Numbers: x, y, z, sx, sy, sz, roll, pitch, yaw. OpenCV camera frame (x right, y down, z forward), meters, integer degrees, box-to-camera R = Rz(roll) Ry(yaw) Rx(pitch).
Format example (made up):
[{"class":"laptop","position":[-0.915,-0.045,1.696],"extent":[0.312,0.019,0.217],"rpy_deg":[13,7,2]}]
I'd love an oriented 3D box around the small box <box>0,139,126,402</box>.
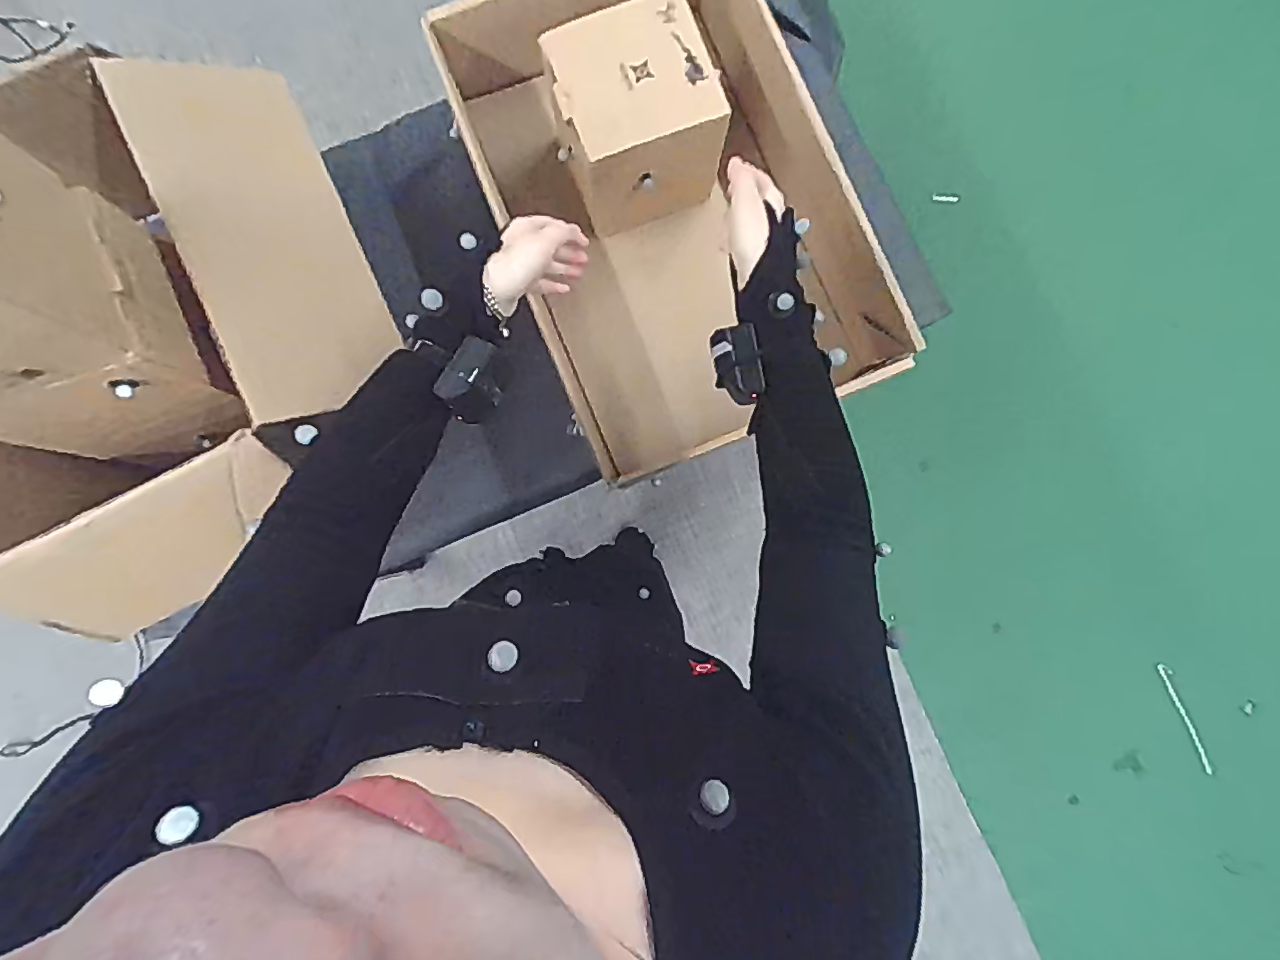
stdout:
[{"class":"small box","position":[-0.523,-0.161,0.367],"extent":[0.168,0.176,0.179],"rpy_deg":[-25,86,-8]}]

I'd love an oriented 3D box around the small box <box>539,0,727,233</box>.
[{"class":"small box","position":[-0.007,-0.451,0.691],"extent":[0.179,0.176,0.168],"rpy_deg":[-21,88,-1]}]
